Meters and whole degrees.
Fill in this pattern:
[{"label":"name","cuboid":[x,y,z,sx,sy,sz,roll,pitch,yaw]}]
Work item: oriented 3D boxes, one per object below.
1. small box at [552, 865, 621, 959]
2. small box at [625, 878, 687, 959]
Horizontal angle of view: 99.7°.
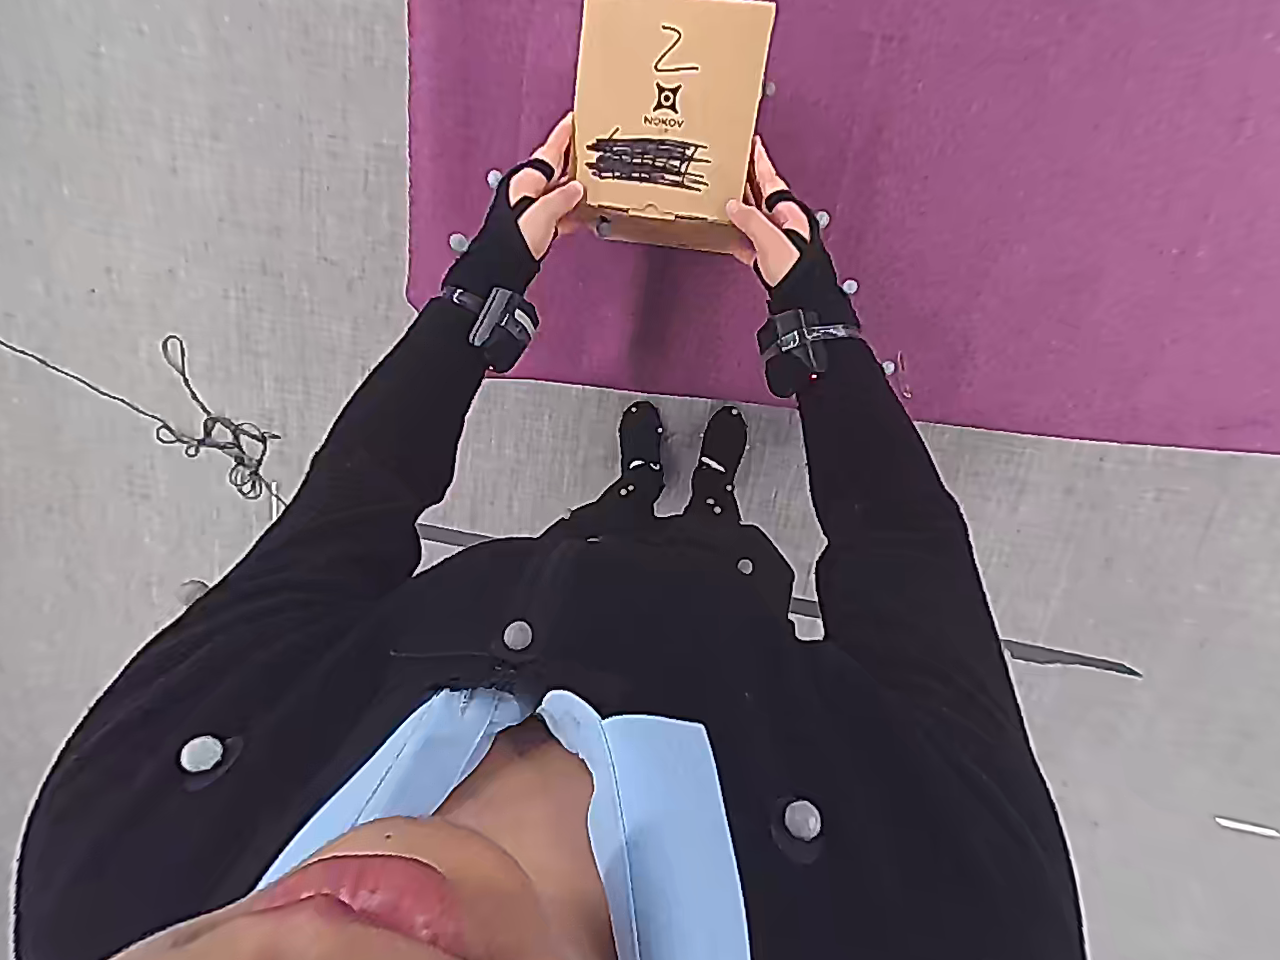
[{"label":"small box","cuboid":[-0.163,1.371,1.701,0.168,0.176,0.179,14,104,3]},{"label":"small box","cuboid":[0.053,1.384,1.673,0.168,0.176,0.179,7,104,8]}]
